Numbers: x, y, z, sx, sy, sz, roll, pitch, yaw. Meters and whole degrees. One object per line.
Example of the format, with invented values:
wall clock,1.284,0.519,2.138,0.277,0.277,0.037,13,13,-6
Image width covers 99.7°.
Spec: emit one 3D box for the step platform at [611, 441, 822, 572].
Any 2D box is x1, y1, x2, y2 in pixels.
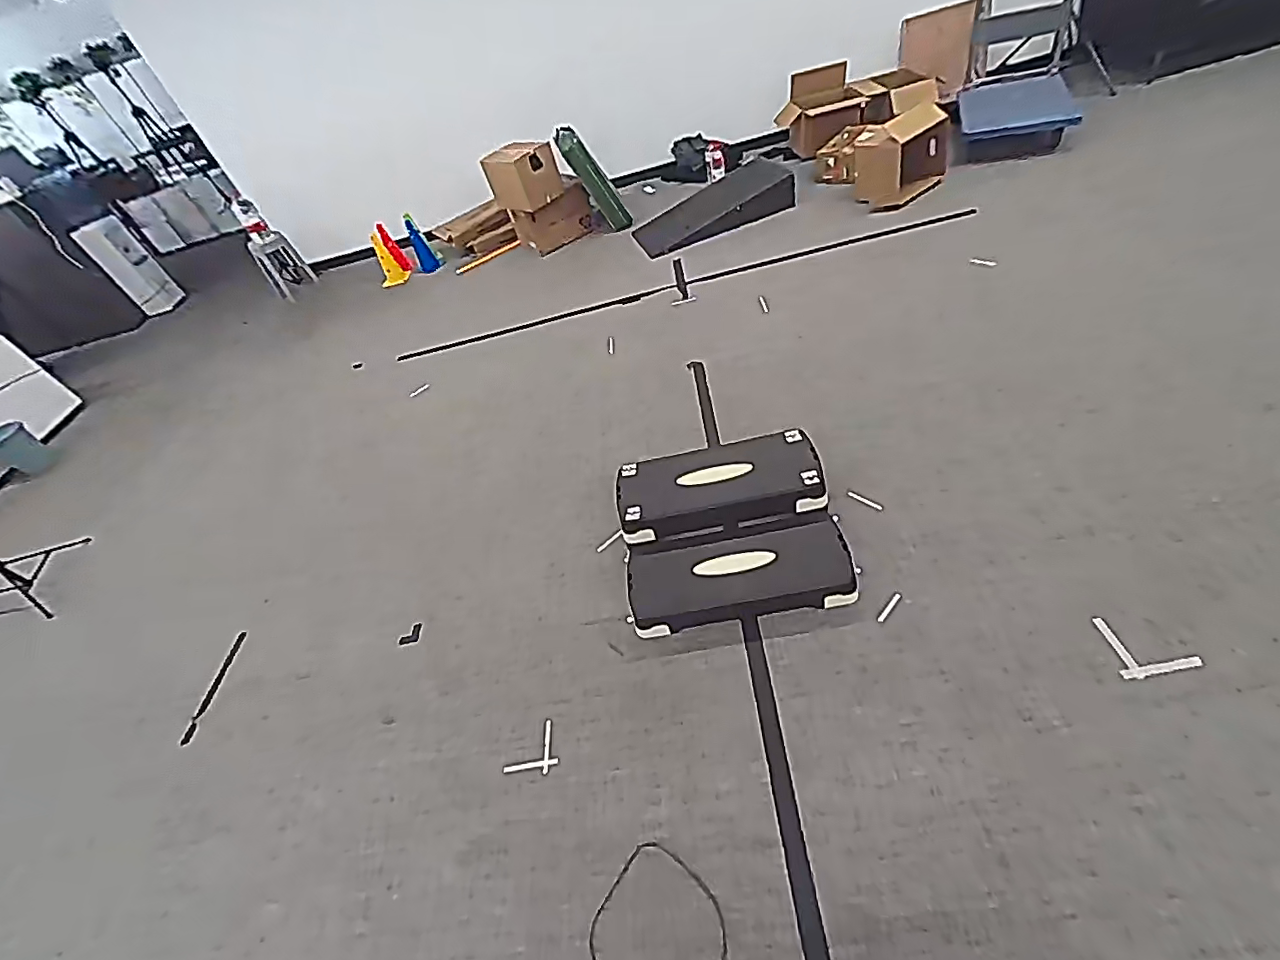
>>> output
step platform,0.245,0.084,1.810,0.684,0.204,0.286,-12,45,6
